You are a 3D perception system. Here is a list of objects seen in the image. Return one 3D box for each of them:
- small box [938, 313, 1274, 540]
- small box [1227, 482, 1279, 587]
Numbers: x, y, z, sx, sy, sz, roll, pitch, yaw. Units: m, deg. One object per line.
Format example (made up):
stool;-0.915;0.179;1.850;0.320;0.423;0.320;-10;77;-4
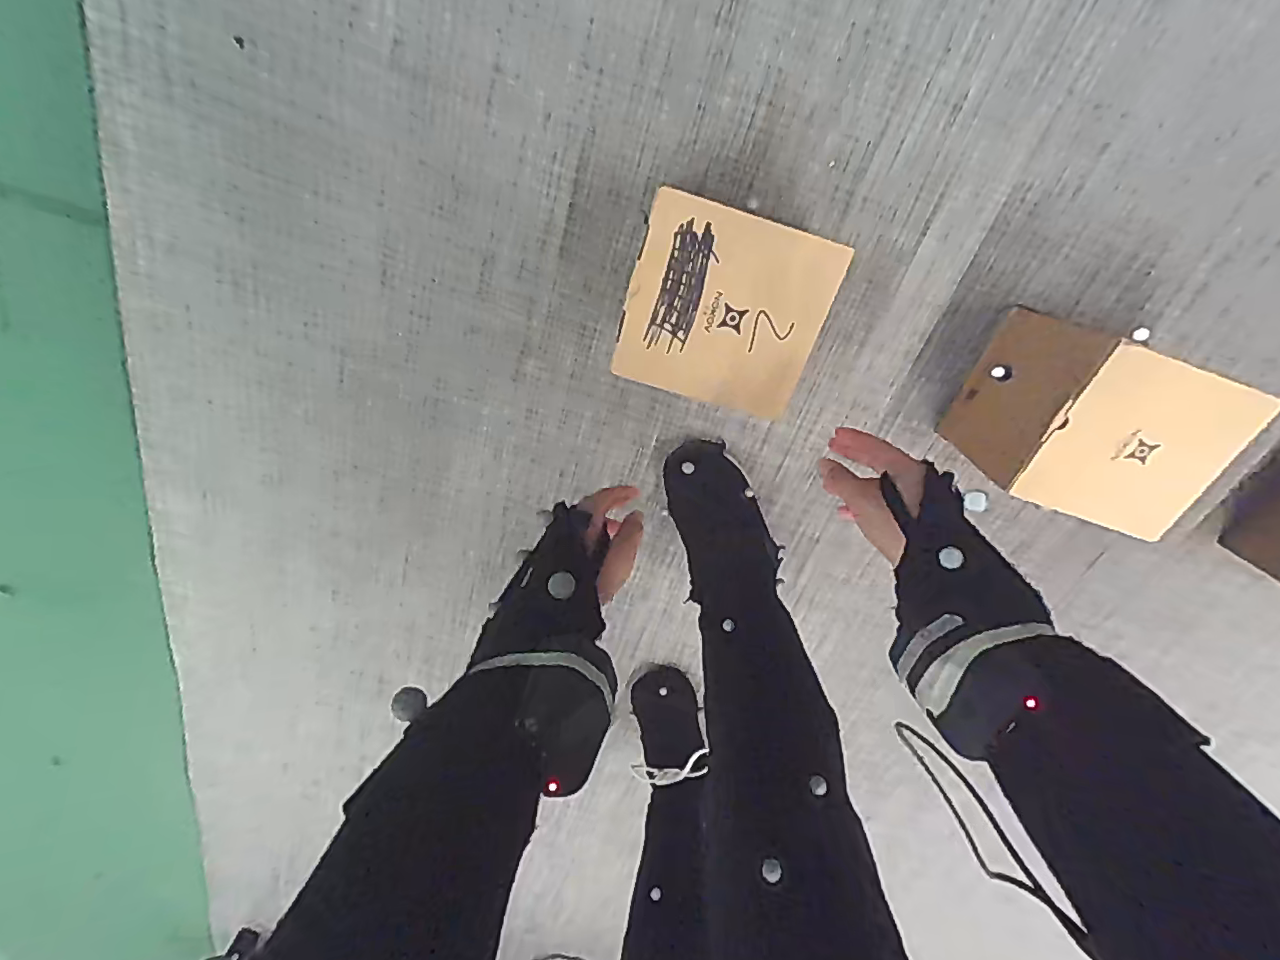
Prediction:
small box;0.472;-0.067;0.586;0.179;0.176;0.168;18;117;-5
small box;0.874;0.082;0.635;0.168;0.176;0.179;21;116;-8
